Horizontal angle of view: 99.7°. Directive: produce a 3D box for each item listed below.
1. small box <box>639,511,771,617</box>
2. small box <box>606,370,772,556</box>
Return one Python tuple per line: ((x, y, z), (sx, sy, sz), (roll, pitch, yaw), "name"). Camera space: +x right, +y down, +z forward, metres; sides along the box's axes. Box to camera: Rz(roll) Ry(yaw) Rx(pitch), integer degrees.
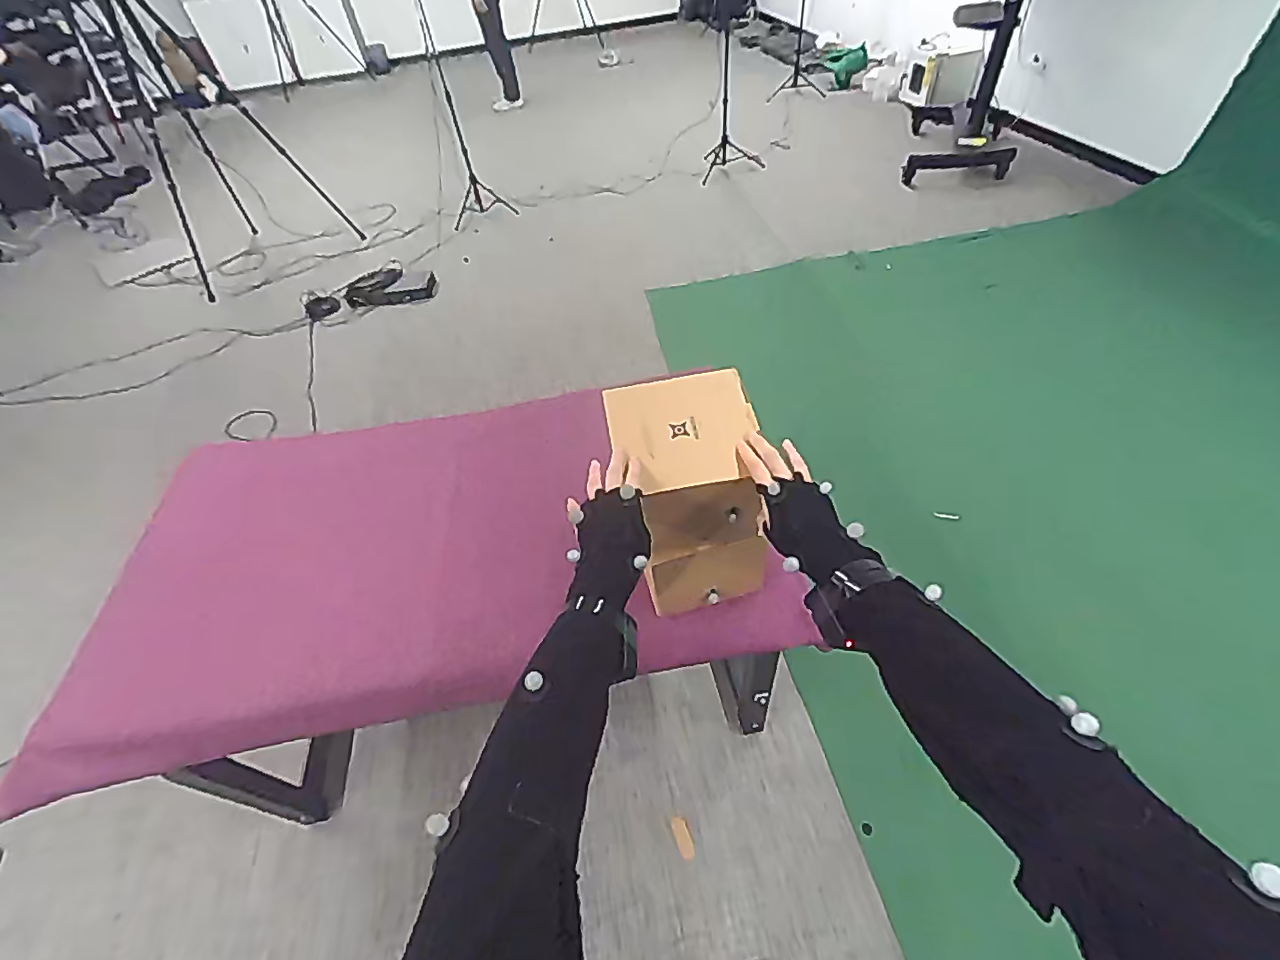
((0.086, 0.089, 0.845), (0.179, 0.176, 0.168), (-14, 50, -5), "small box")
((0.058, -0.016, 0.711), (0.179, 0.176, 0.168), (-10, 57, 0), "small box")
